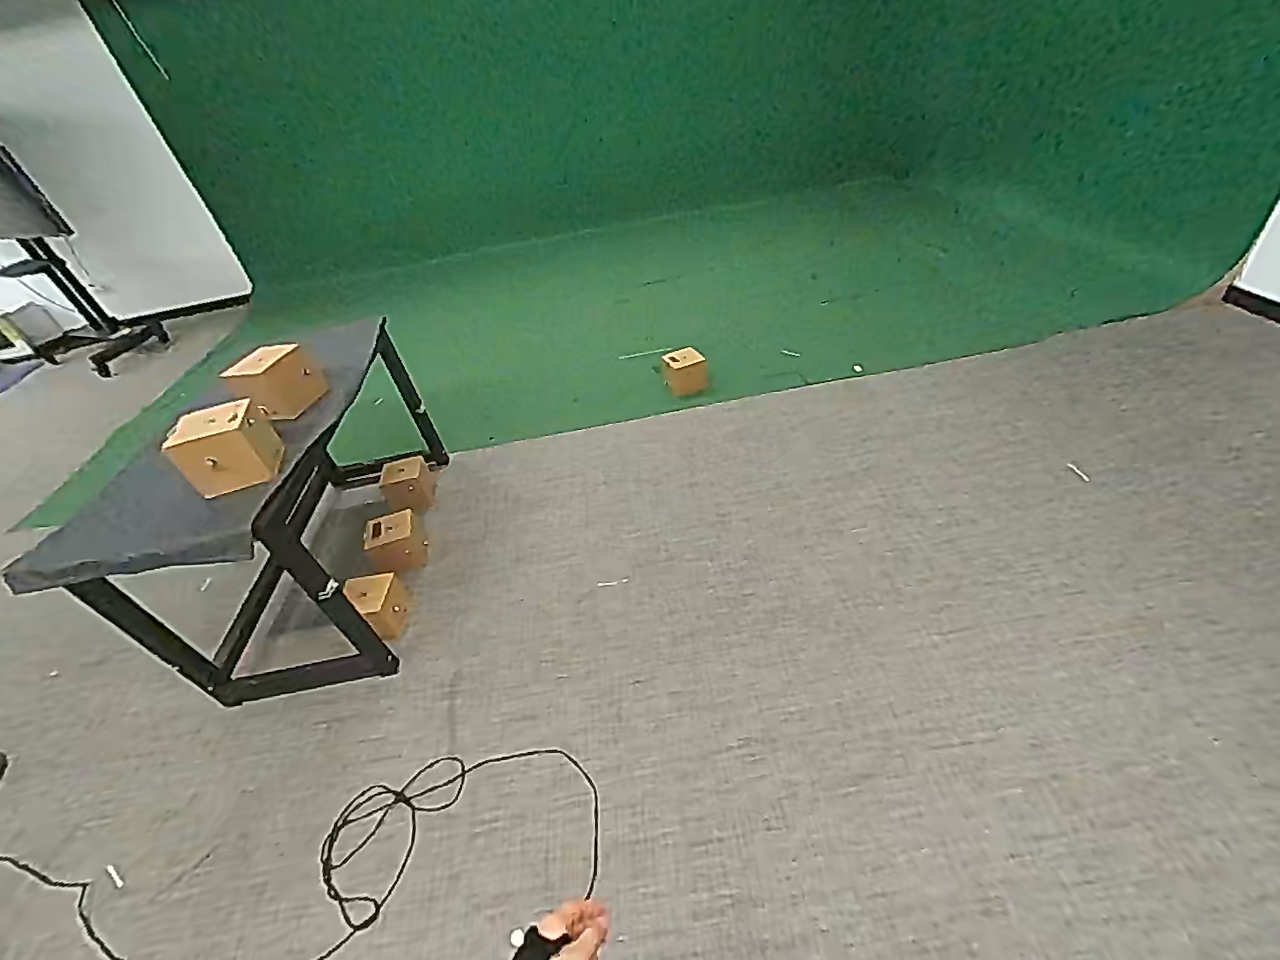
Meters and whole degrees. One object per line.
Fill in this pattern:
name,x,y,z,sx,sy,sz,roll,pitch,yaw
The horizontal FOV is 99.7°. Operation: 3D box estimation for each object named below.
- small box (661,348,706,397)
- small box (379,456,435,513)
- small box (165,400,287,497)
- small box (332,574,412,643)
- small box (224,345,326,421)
small box,0.226,-0.553,2.787,0.179,0.176,0.168,-21,42,-12
small box,-1.033,0.020,2.415,0.179,0.176,0.168,-14,40,-3
small box,-1.075,-0.080,1.422,0.179,0.176,0.168,-19,41,-9
small box,-0.931,0.454,1.902,0.179,0.176,0.168,-9,41,4
small box,-1.124,-0.300,1.686,0.168,0.176,0.179,0,43,17
